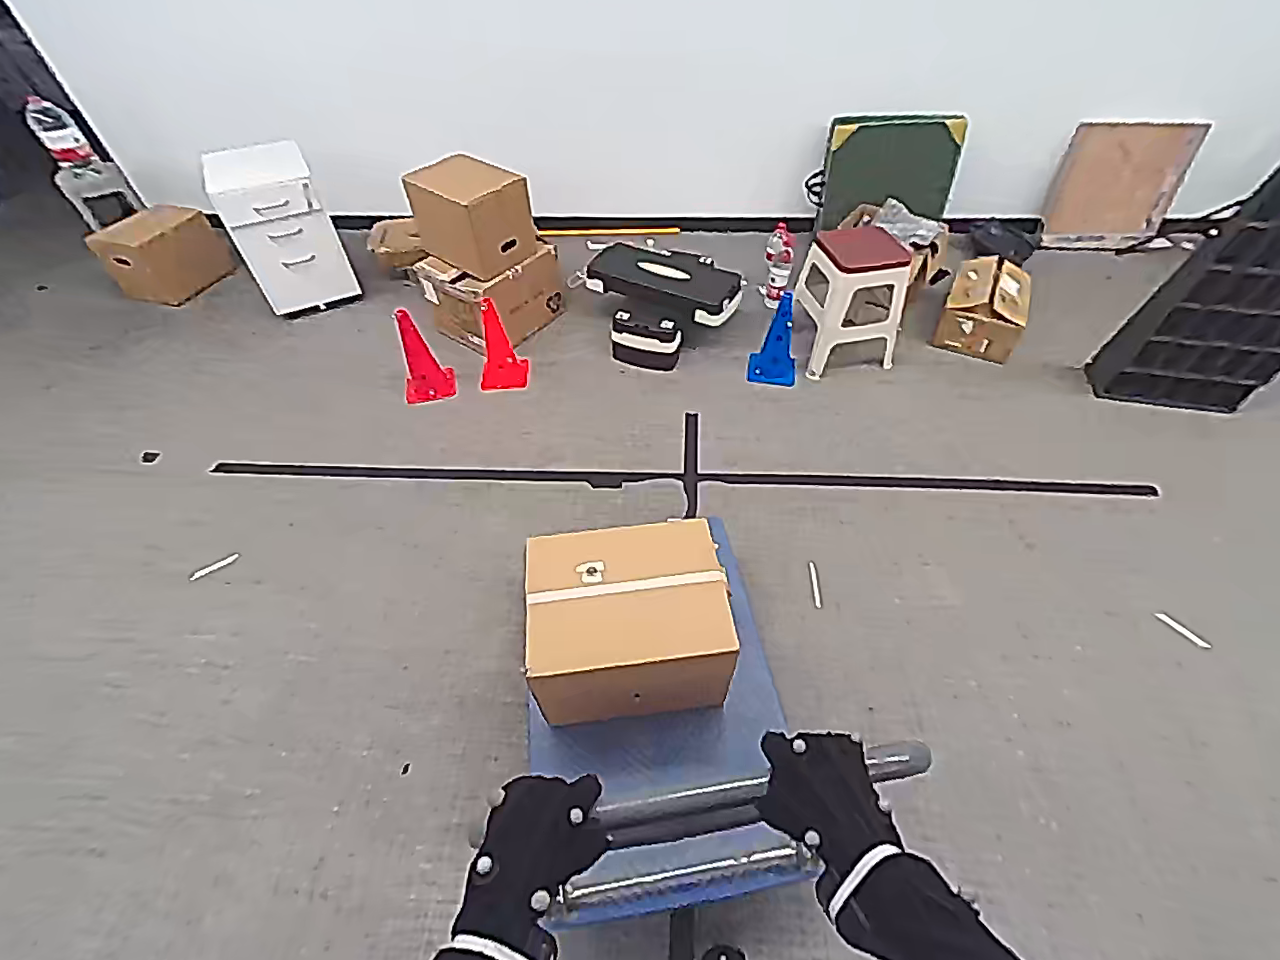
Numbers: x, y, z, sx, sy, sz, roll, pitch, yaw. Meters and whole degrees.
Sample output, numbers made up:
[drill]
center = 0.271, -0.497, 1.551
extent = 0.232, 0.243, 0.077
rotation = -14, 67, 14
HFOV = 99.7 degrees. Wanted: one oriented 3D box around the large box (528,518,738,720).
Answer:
[large box]
center = -0.023, 0.319, 1.222
extent = 0.408, 0.320, 0.320
rotation = -7, 50, -3
